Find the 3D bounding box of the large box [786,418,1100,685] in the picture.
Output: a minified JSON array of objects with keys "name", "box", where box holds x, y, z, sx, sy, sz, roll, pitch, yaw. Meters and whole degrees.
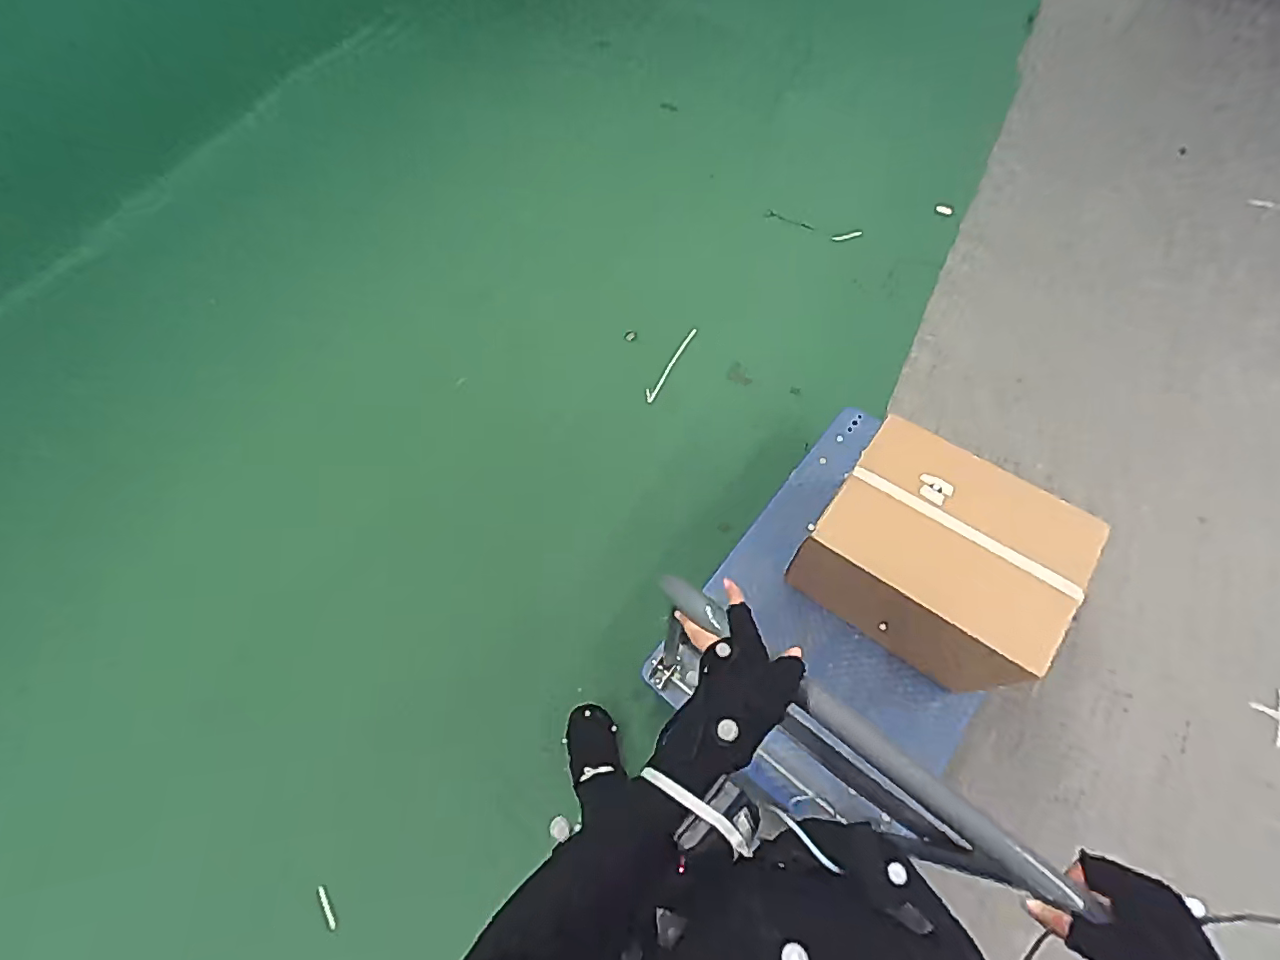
[{"name":"large box","box":[0.564,0.153,1.085,0.408,0.320,0.320,33,71,20]}]
